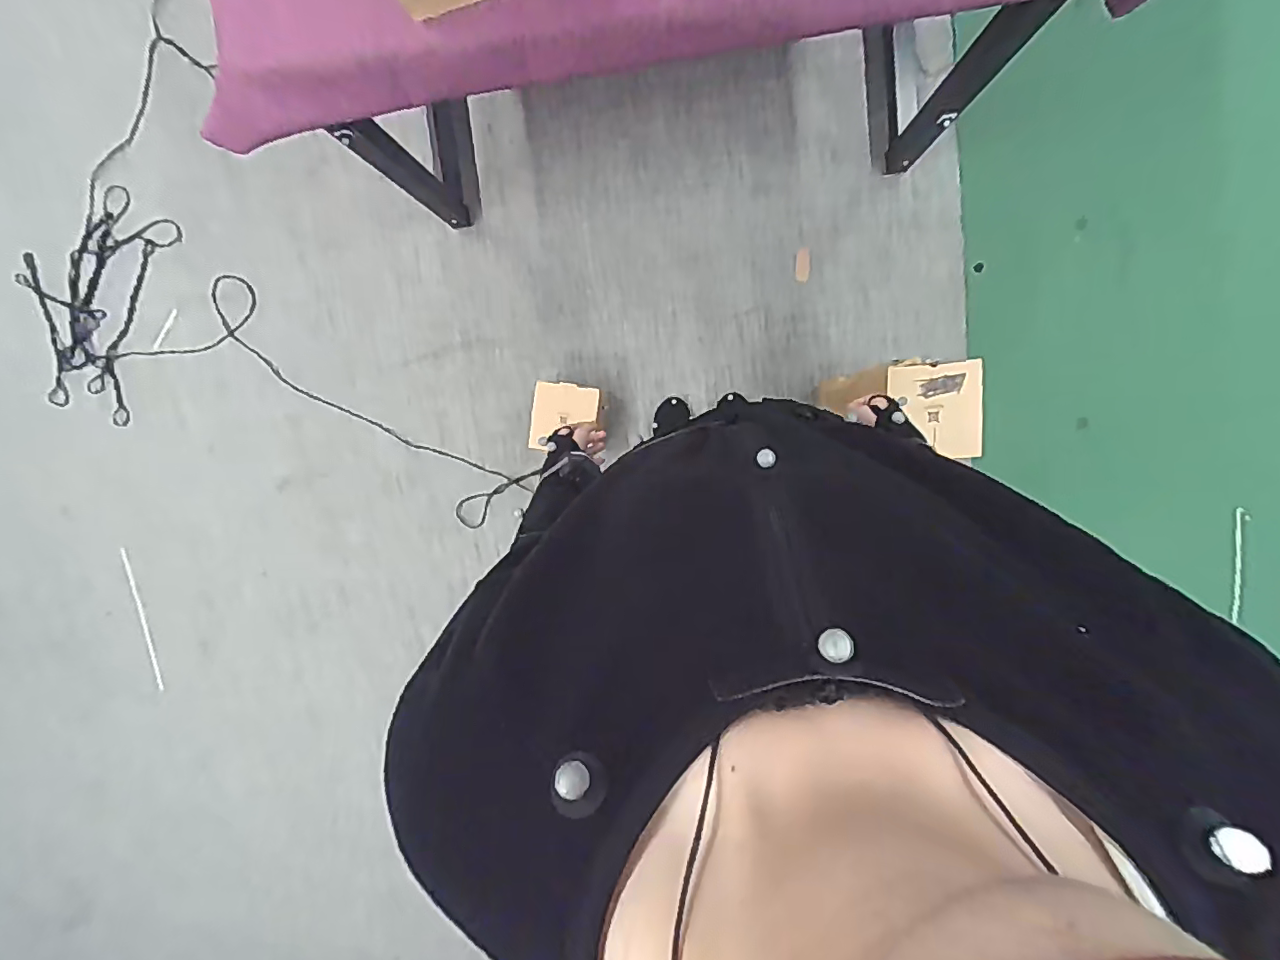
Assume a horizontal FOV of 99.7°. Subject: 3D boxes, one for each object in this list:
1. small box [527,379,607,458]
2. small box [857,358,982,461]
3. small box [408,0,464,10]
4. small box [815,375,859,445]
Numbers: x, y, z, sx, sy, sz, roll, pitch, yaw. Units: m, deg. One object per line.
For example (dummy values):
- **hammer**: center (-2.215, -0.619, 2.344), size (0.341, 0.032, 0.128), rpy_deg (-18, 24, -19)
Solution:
- **small box**: center (-0.187, -0.164, 1.426), size (0.168, 0.176, 0.179), rpy_deg (10, 99, 4)
- **small box**: center (0.527, -0.135, 1.041), size (0.168, 0.176, 0.179), rpy_deg (-4, 99, 4)
- **small box**: center (-0.244, -0.696, 0.621), size (0.168, 0.176, 0.179), rpy_deg (-13, 95, 6)
- **small box**: center (0.554, -0.172, 1.366), size (0.179, 0.176, 0.168), rpy_deg (4, 98, 4)
